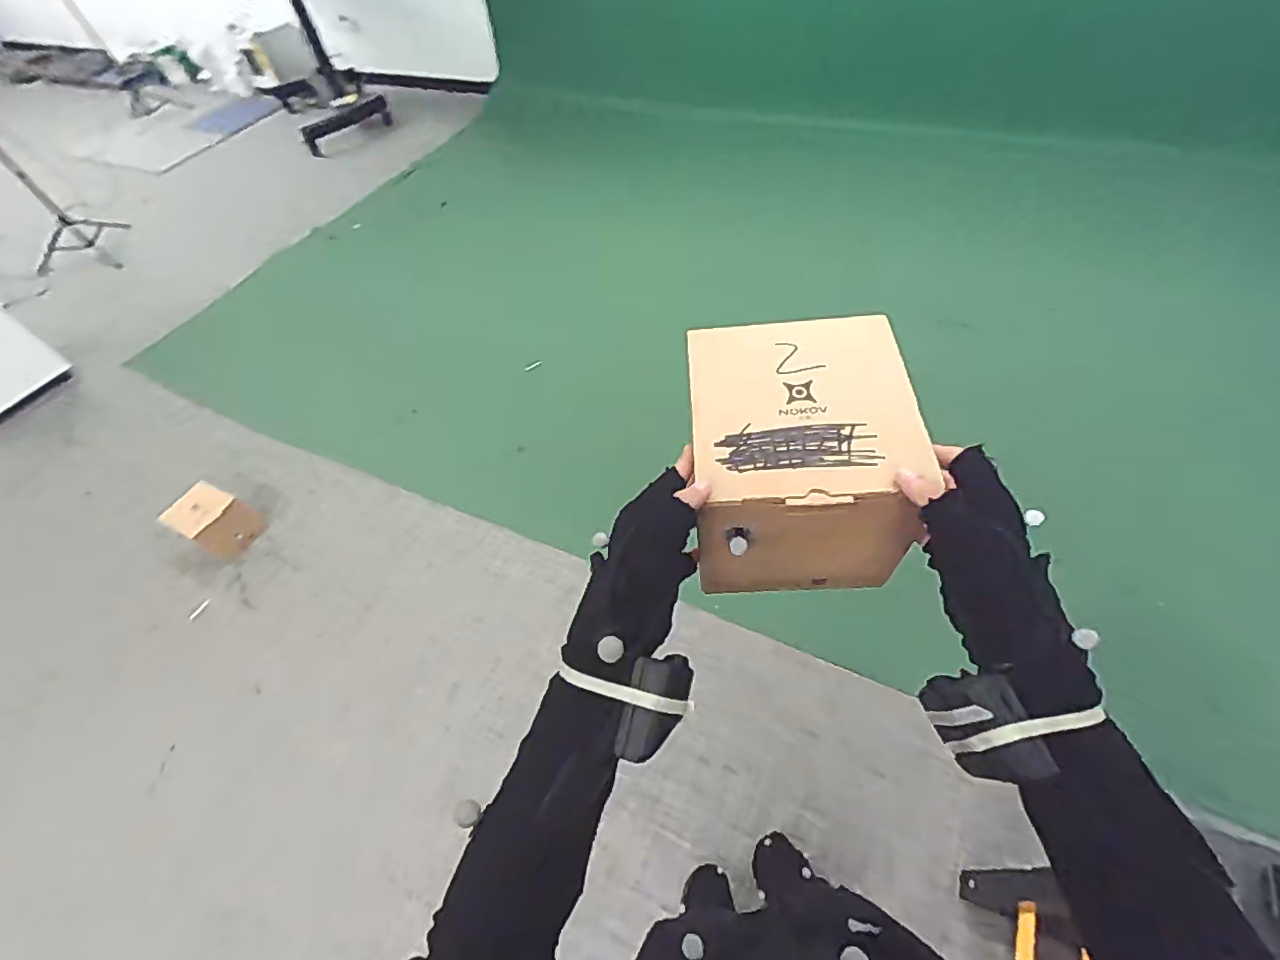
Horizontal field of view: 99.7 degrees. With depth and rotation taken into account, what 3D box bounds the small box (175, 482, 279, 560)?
[{"bbox_3d":[-1.347,0.139,1.774,0.179,0.176,0.168,20,59,19],"label":"small box"}]
